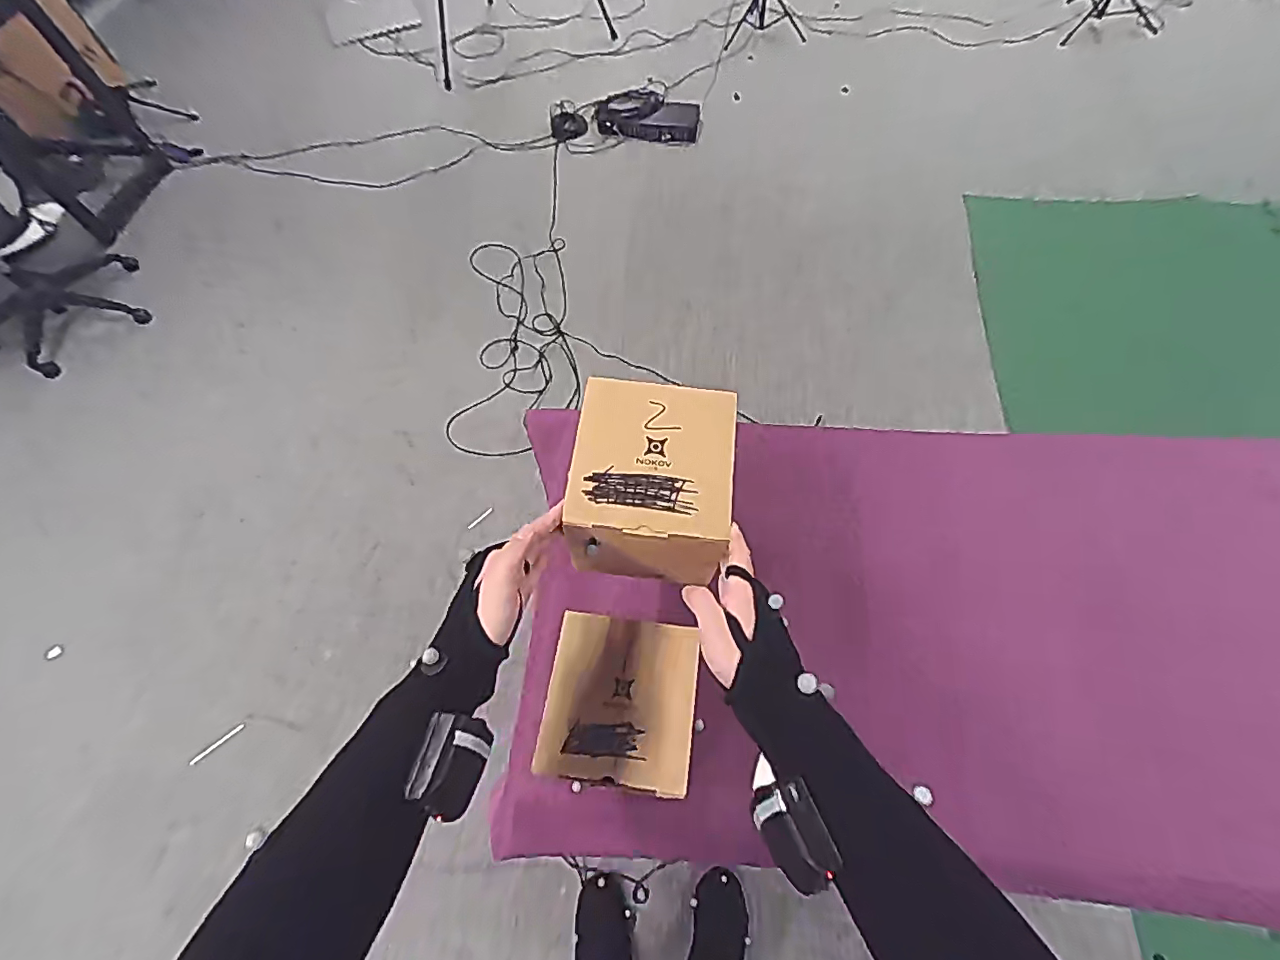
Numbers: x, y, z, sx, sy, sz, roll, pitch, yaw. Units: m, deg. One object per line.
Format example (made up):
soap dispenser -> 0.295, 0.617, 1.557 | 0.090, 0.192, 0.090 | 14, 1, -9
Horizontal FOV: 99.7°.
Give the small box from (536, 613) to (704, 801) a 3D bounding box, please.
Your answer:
small box -> -0.014, 0.282, 0.667 | 0.168, 0.176, 0.179 | 6, 60, 6
